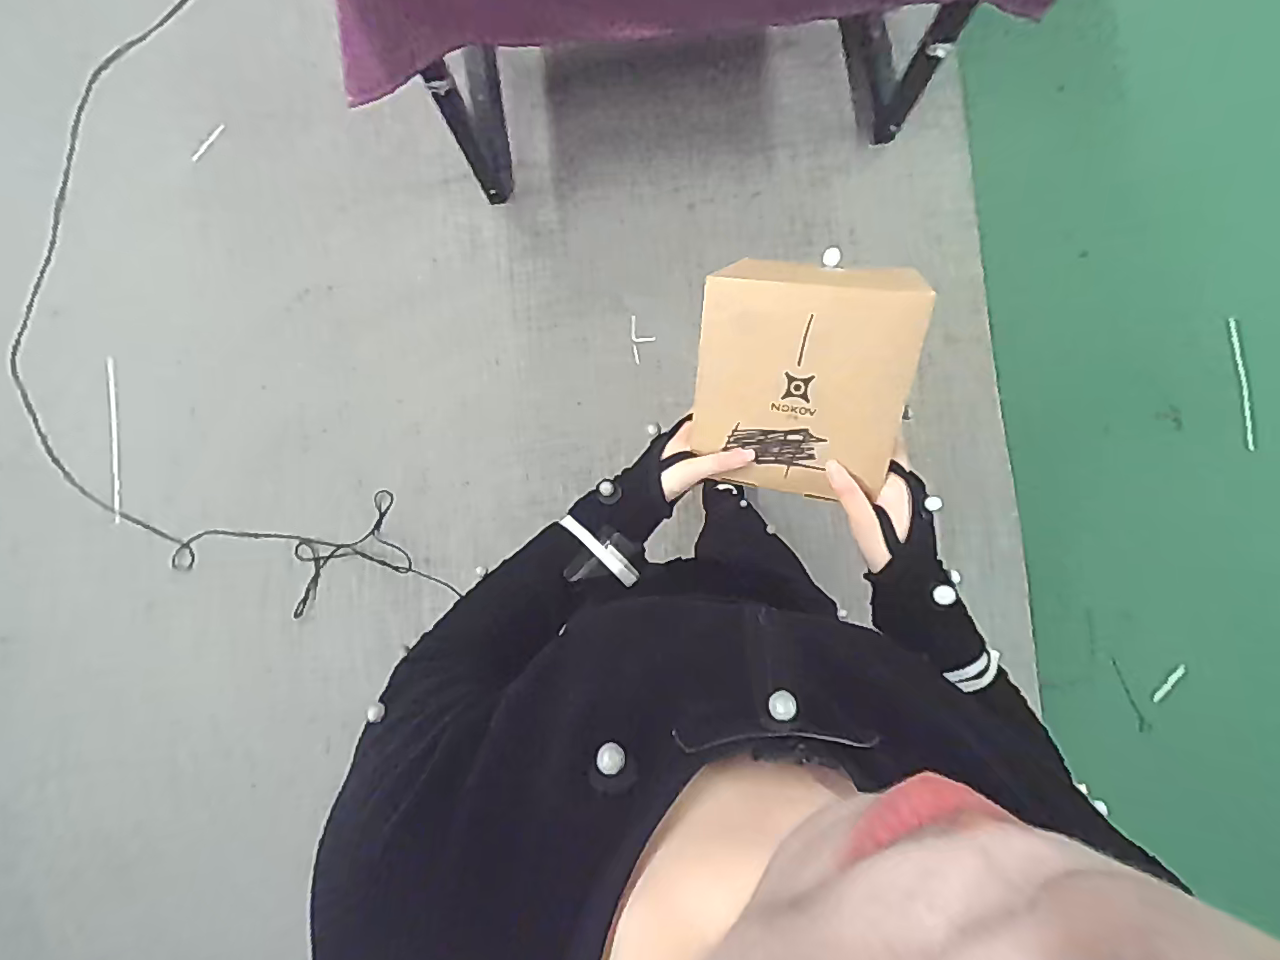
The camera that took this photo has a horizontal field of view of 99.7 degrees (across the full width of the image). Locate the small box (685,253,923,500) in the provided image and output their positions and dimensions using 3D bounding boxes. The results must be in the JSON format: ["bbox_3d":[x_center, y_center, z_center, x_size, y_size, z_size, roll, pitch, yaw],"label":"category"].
[{"bbox_3d":[0.147,-0.108,0.507,0.168,0.176,0.179,10,118,16],"label":"small box"}]
